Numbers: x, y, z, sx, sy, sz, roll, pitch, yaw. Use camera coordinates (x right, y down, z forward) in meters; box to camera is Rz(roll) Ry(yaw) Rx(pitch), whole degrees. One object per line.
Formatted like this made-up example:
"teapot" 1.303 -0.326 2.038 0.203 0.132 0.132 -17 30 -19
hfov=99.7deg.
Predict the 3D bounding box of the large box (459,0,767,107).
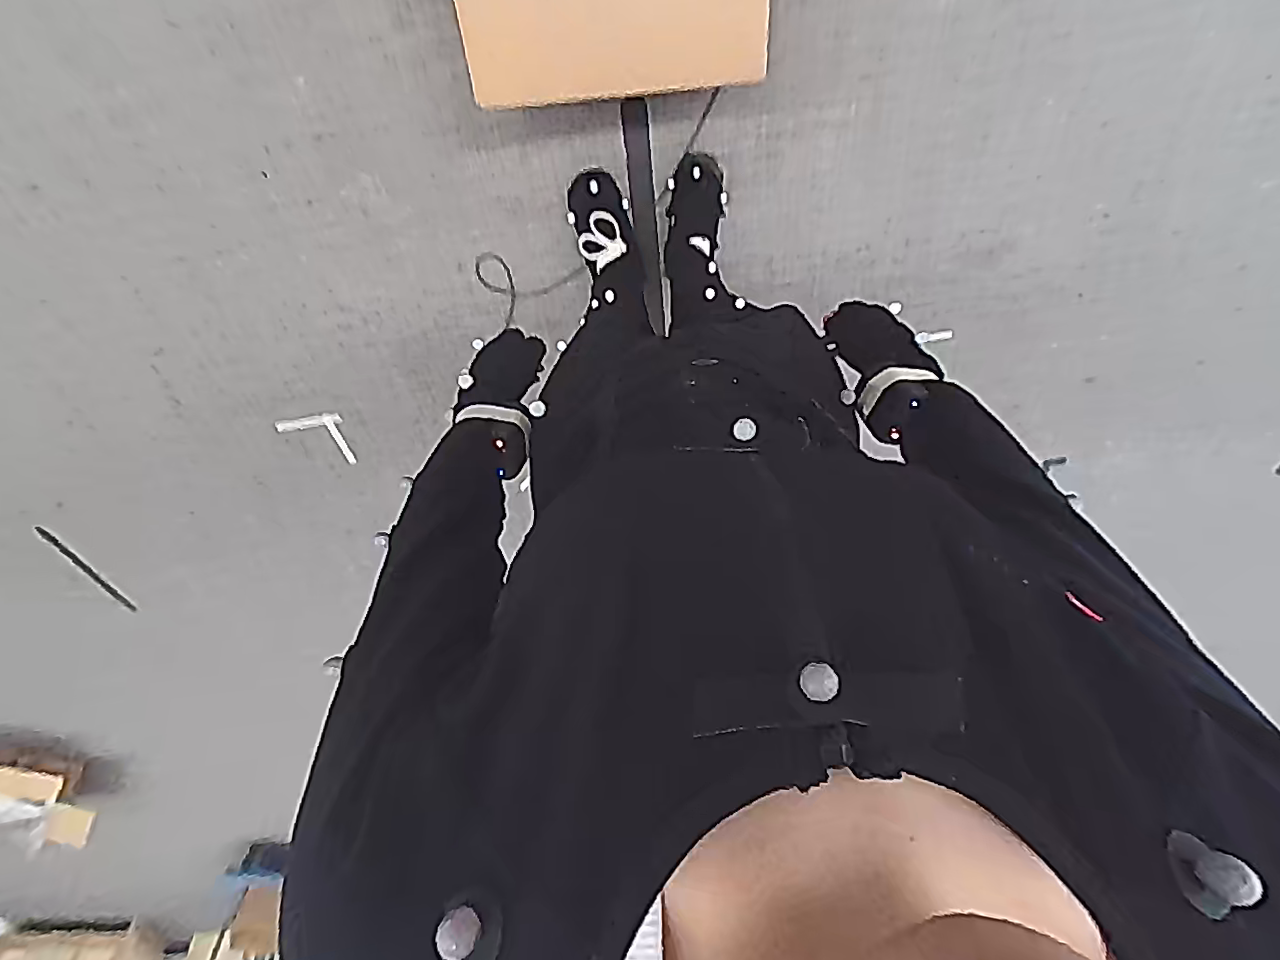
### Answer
"large box" -0.046 -0.755 0.774 0.408 0.320 0.320 -5 130 1
